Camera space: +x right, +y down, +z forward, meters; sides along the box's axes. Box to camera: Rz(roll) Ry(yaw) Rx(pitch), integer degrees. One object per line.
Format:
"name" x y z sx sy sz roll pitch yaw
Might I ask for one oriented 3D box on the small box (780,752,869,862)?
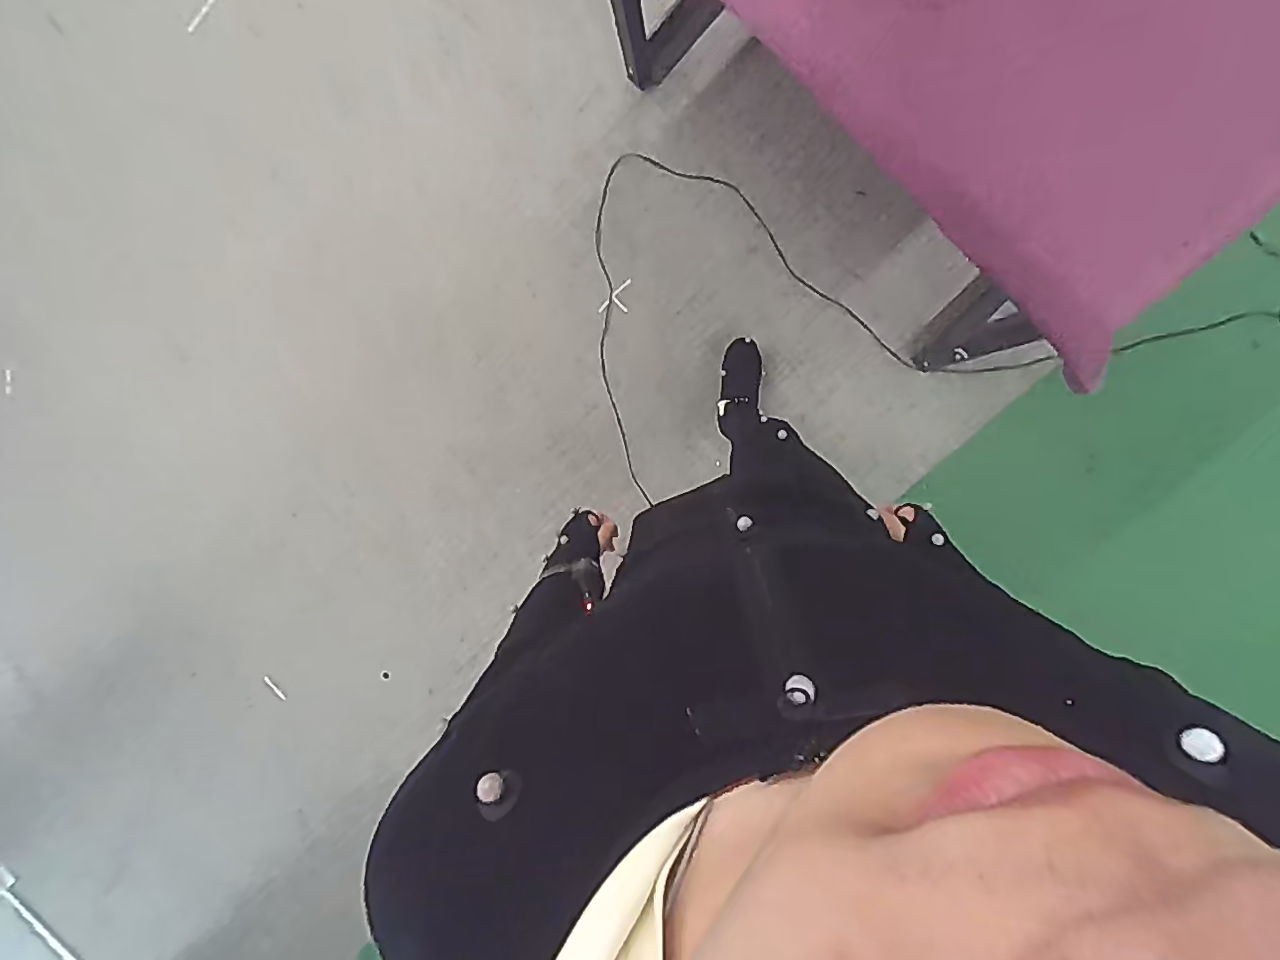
"small box" 0.523 0.937 1.564 0.179 0.176 0.168 -41 90 10
